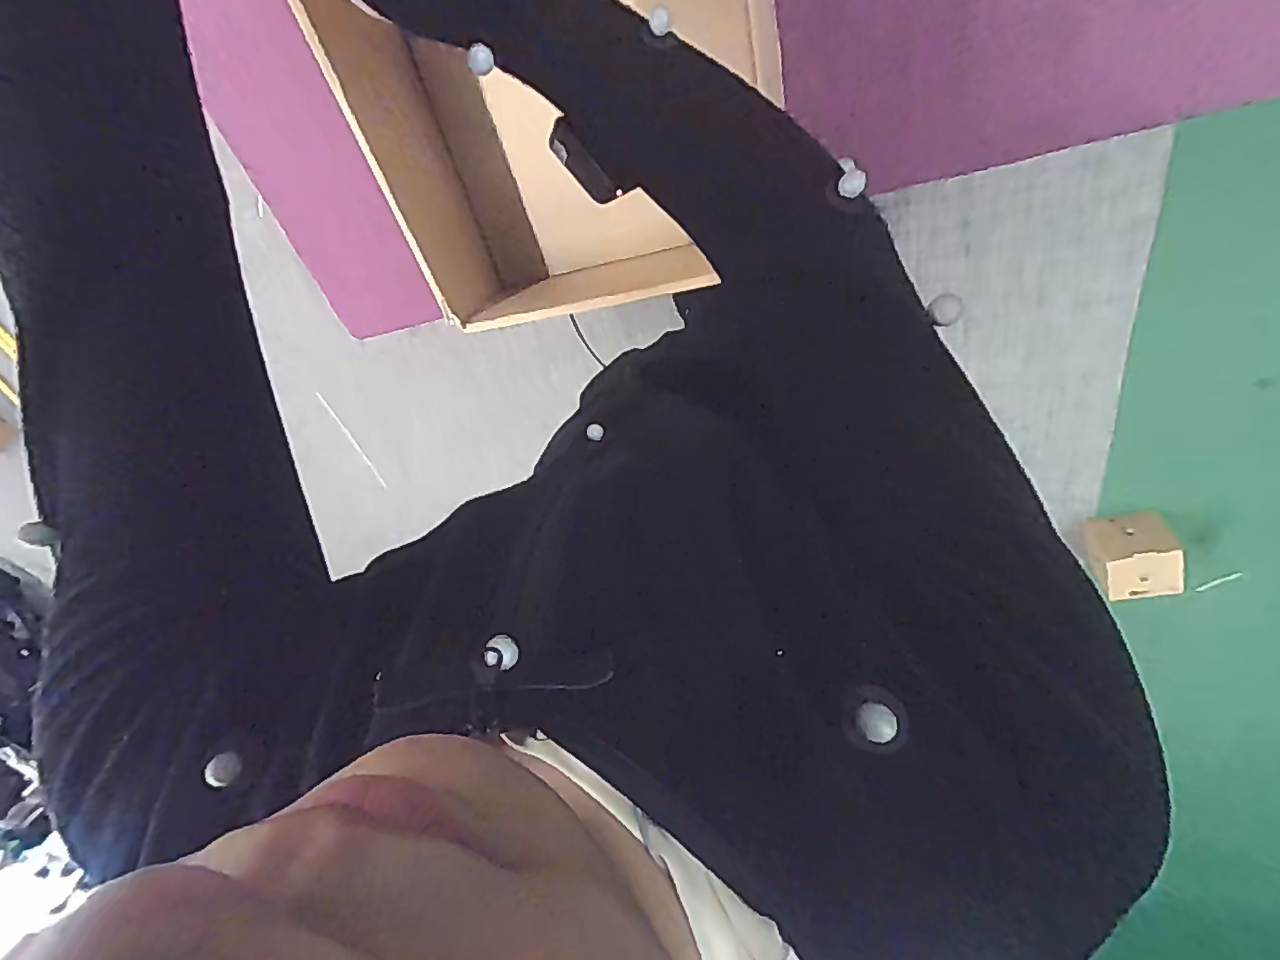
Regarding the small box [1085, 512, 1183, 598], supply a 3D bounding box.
[{"bbox_3d":[1.410,0.208,1.551,0.168,0.176,0.179,-16,122,28],"label":"small box"}]
